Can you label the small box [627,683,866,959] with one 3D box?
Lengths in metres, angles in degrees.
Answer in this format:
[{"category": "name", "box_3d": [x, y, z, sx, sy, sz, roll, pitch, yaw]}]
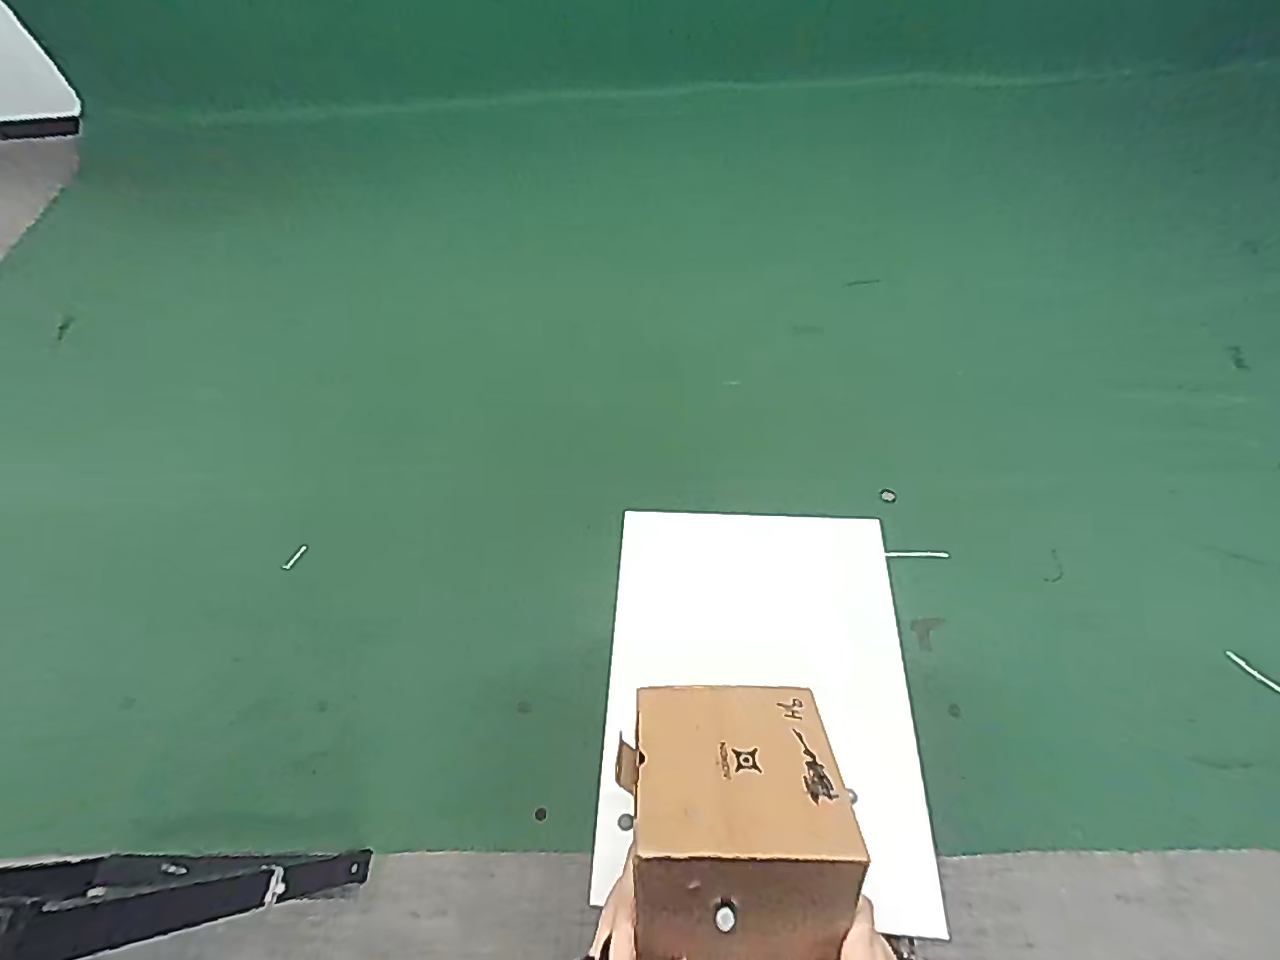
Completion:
[{"category": "small box", "box_3d": [0.082, 0.309, 0.493, 0.179, 0.176, 0.168, -1, 25, 2]}]
